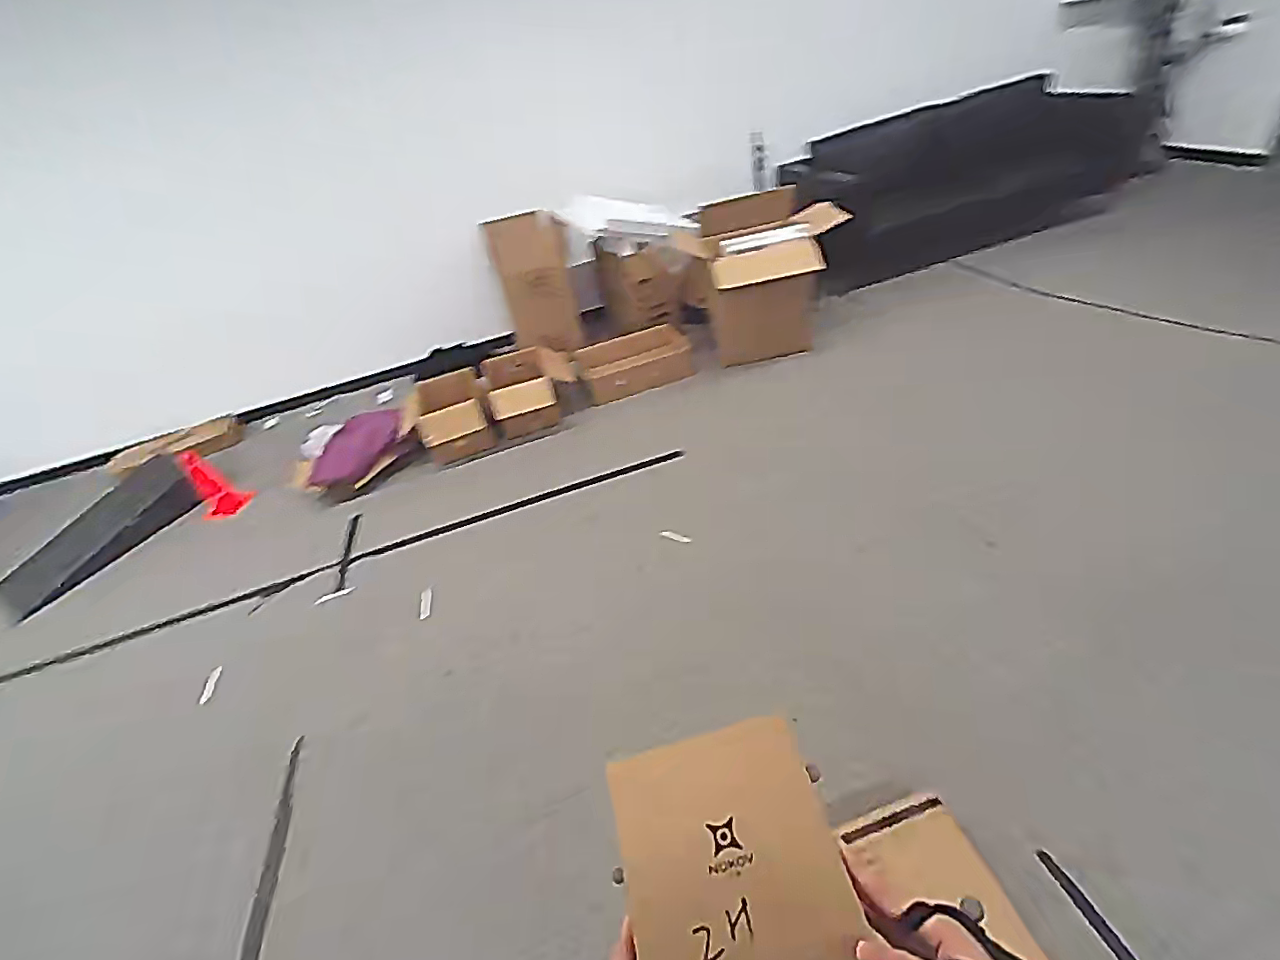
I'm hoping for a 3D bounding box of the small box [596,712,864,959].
[{"bbox_3d":[0.069,0.342,0.479,0.168,0.176,0.179,-16,46,-3],"label":"small box"}]
